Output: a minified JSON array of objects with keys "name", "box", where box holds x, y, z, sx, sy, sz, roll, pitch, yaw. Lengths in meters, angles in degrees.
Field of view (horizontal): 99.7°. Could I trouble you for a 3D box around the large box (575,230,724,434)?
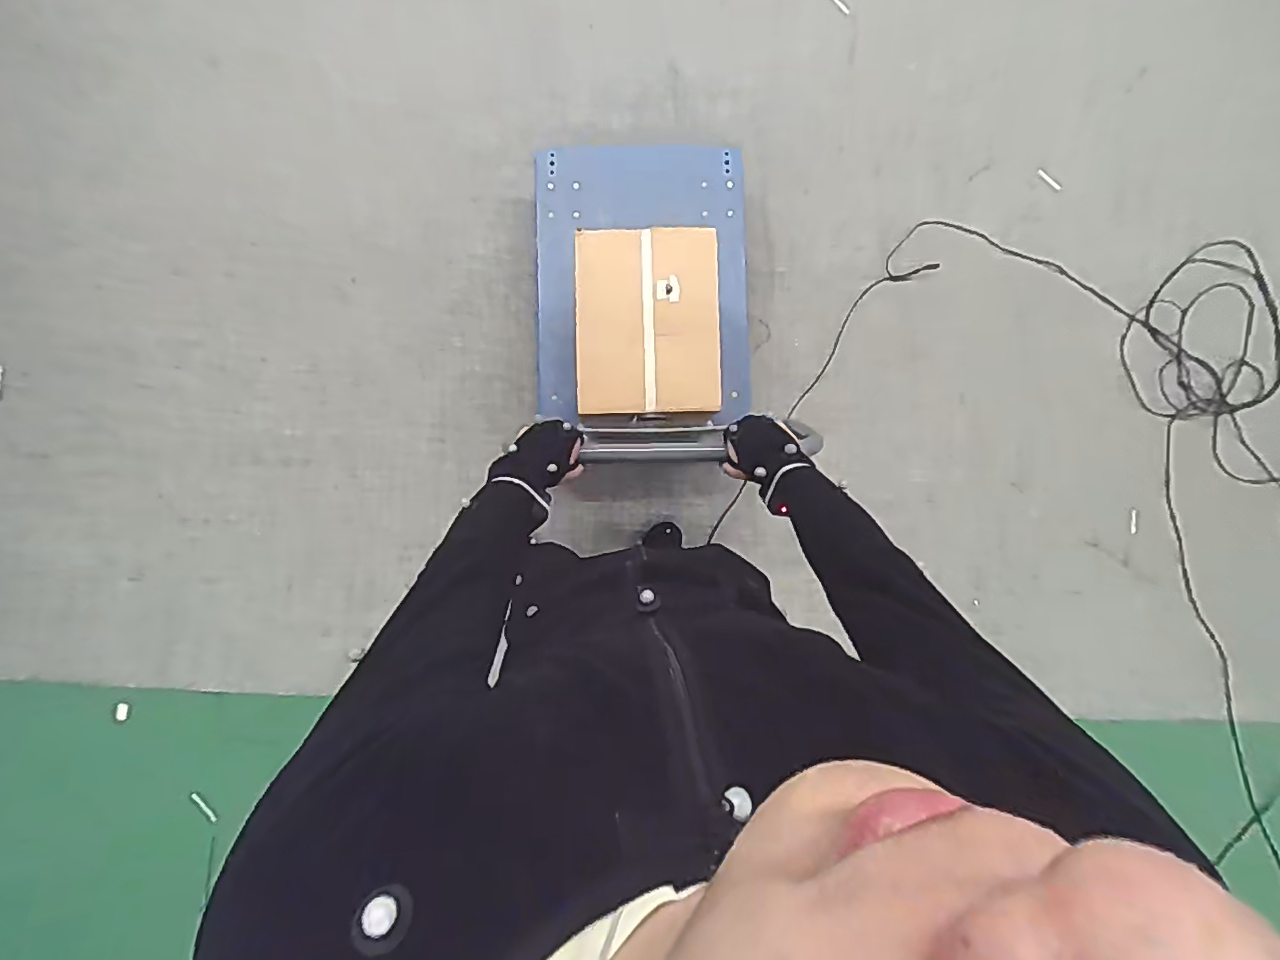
[{"name":"large box","box":[0.019,-0.333,1.315,0.320,0.320,0.408,-1,88,-1]}]
